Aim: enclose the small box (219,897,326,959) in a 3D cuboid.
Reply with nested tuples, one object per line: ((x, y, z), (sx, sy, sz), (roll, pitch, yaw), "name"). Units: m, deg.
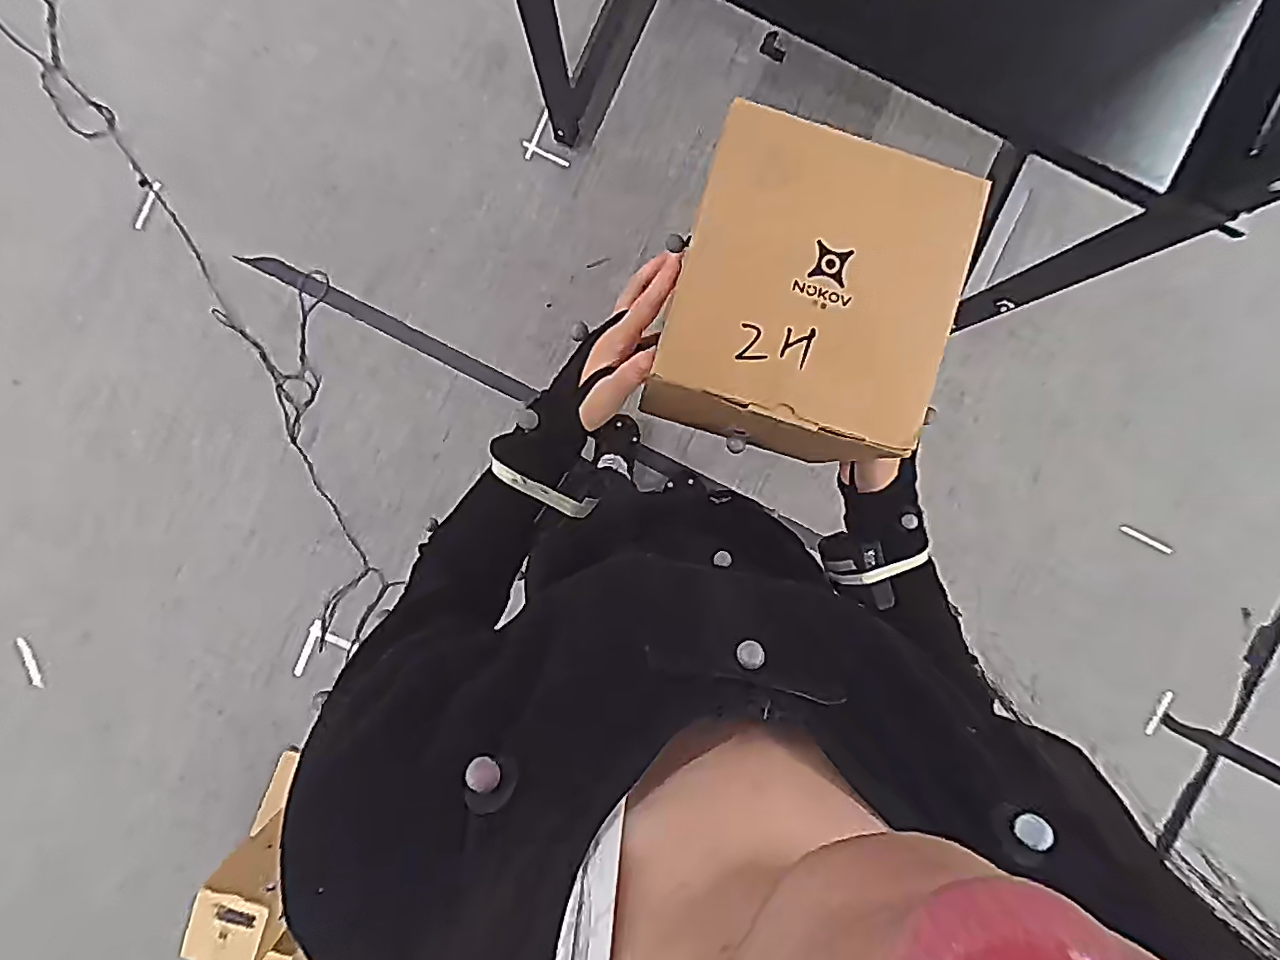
((-1.001, 1.259, 1.465), (0.179, 0.176, 0.168), (19, 94, -2), "small box")

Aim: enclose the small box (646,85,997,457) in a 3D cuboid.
((0.105, -0.123, 0.393), (0.168, 0.176, 0.179), (17, 90, -3), "small box")

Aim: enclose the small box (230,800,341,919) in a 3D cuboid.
((-0.938, 1.007, 1.450), (0.168, 0.176, 0.179), (19, 93, -1), "small box")
